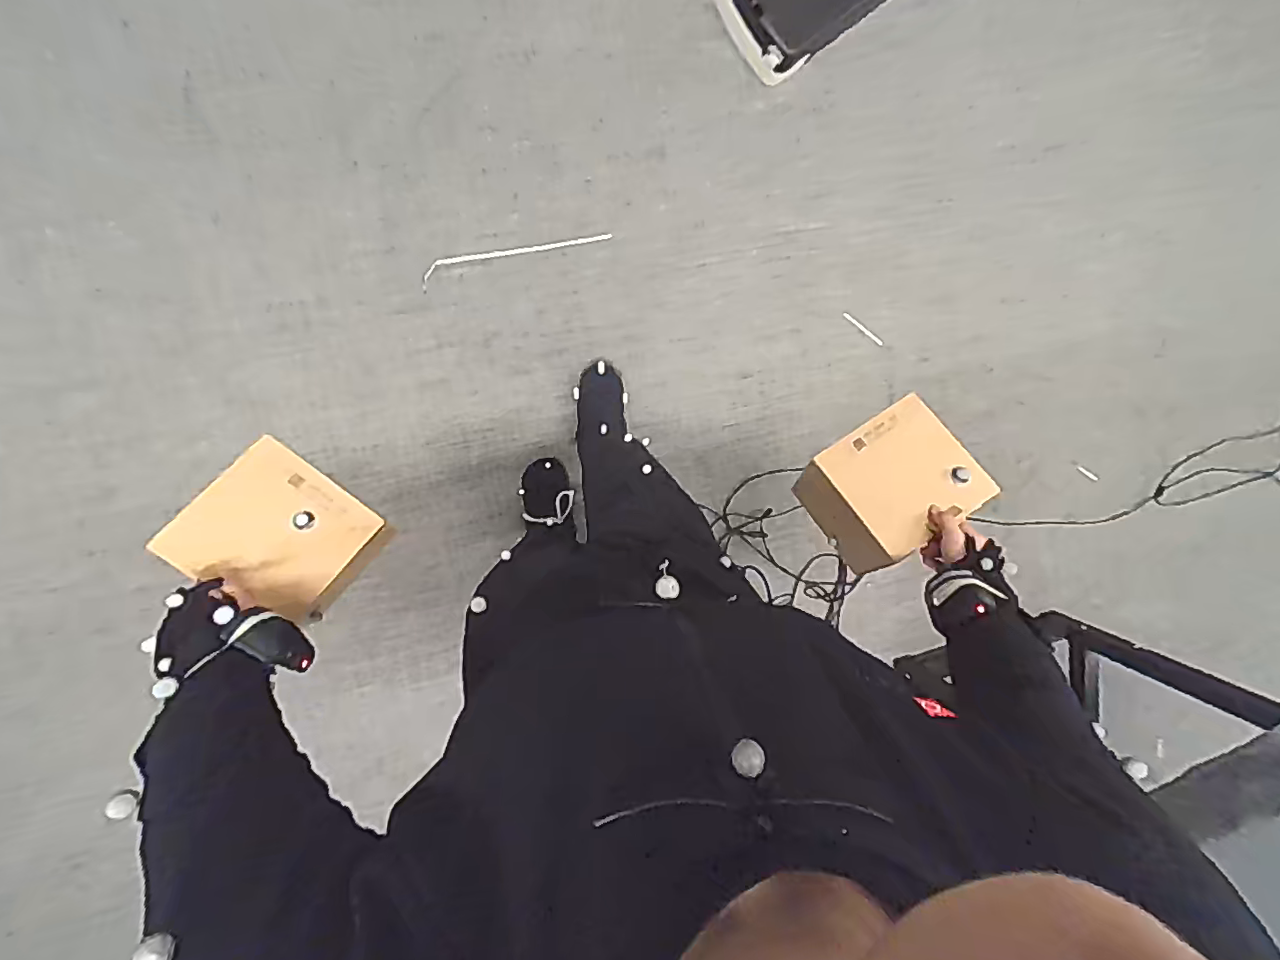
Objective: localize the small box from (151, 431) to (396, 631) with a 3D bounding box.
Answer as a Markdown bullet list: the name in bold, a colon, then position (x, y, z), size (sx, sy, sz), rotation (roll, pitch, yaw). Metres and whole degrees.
- **small box**: position (-0.432, 0.062, 0.681), size (0.168, 0.179, 0.176), rotation (41, 72, -11)
